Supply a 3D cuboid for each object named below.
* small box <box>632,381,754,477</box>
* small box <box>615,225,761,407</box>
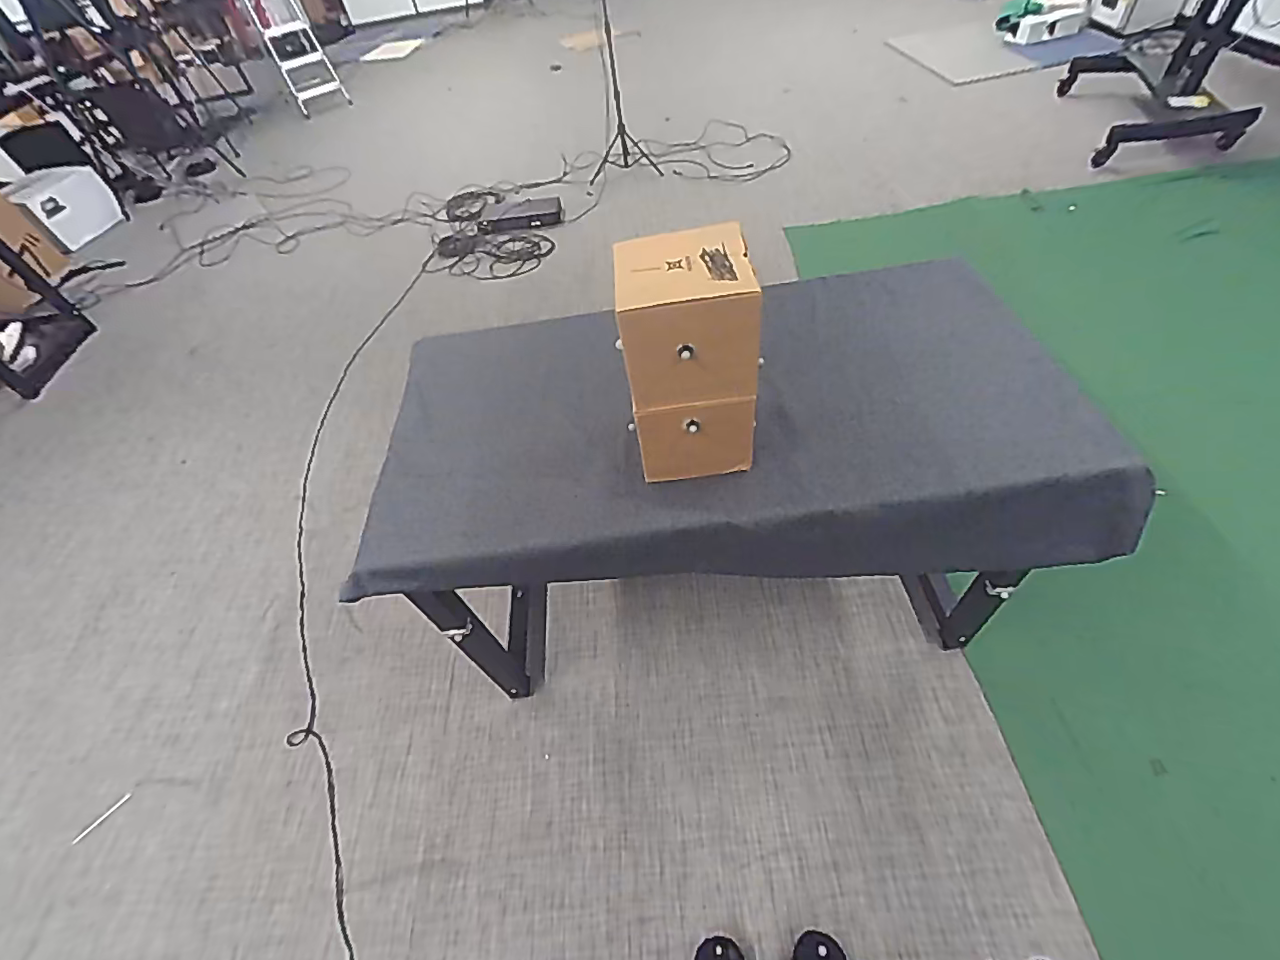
[{"bbox_3d":[0.081,-0.119,0.878,0.179,0.176,0.168,-6,52,2],"label":"small box"},{"bbox_3d":[0.064,-0.222,0.751,0.179,0.176,0.168,-7,52,5],"label":"small box"}]
